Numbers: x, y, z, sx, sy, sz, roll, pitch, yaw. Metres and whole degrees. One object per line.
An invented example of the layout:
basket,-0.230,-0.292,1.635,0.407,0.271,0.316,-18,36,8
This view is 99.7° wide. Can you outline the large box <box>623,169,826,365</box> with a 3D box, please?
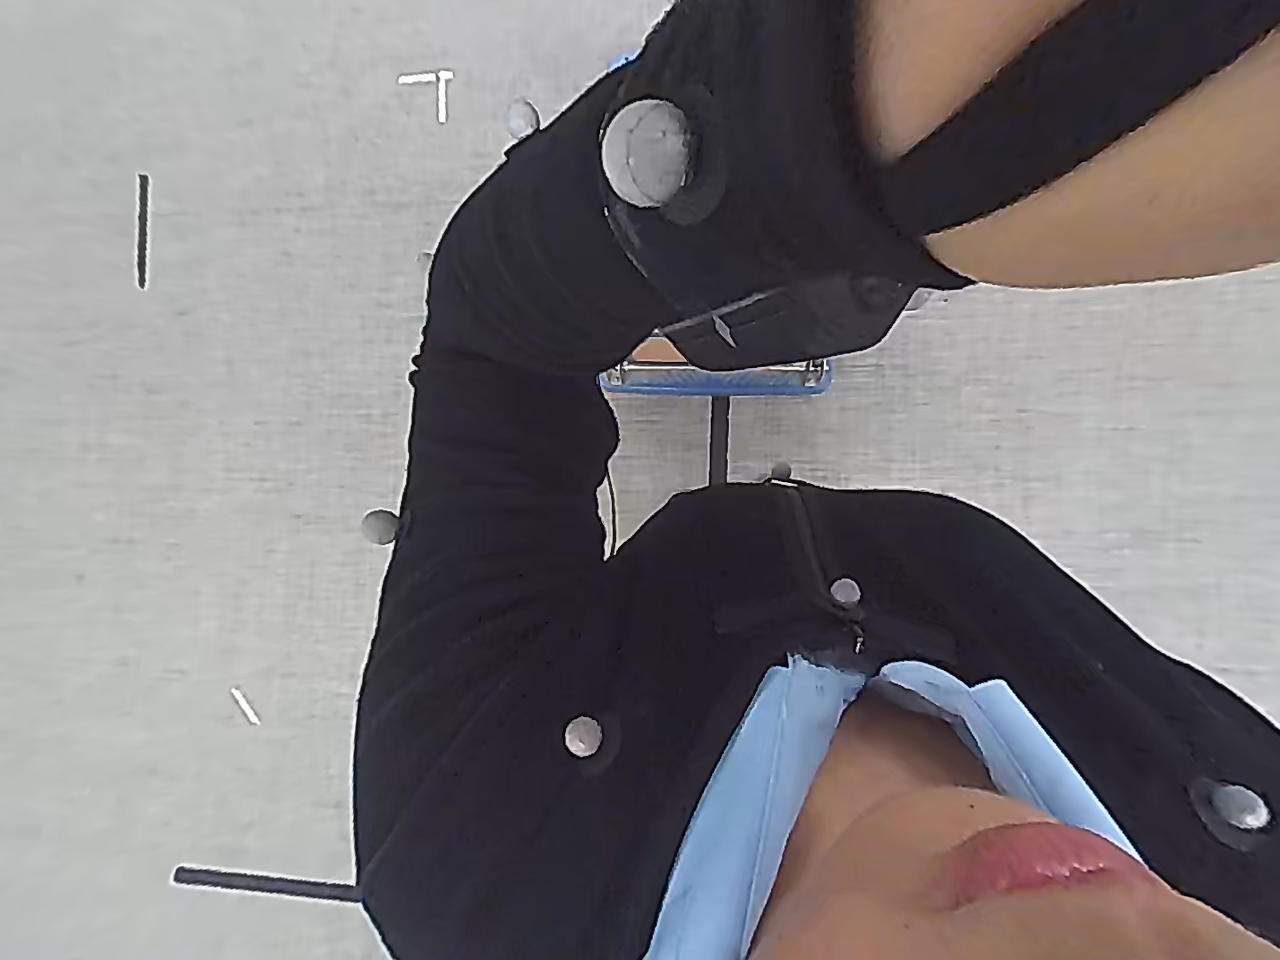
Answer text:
large box,0.175,-0.450,1.215,0.408,0.320,0.320,1,89,5
